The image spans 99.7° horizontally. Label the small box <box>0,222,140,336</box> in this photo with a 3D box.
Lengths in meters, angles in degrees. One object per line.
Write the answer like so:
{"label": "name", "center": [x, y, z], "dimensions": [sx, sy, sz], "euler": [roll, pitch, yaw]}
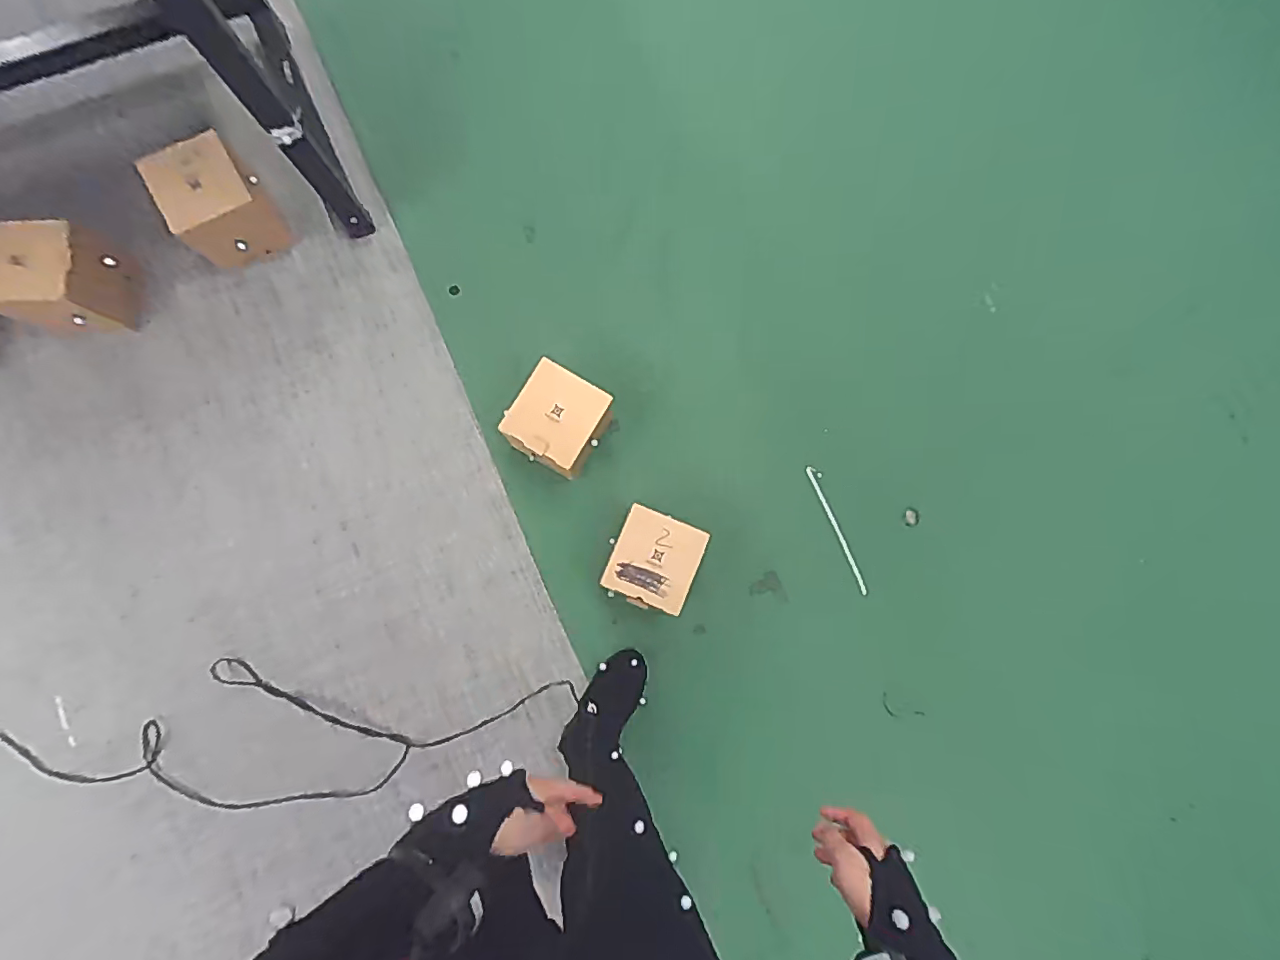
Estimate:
{"label": "small box", "center": [-1.190, -0.407, 1.116], "dimensions": [0.179, 0.176, 0.168], "euler": [-4, 83, -3]}

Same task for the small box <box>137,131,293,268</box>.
{"label": "small box", "center": [-0.888, -0.581, 1.152], "dimensions": [0.168, 0.176, 0.179], "euler": [-29, 86, -7]}

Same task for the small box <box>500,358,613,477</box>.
{"label": "small box", "center": [-0.172, -0.124, 1.151], "dimensions": [0.168, 0.176, 0.179], "euler": [30, 83, 0]}
